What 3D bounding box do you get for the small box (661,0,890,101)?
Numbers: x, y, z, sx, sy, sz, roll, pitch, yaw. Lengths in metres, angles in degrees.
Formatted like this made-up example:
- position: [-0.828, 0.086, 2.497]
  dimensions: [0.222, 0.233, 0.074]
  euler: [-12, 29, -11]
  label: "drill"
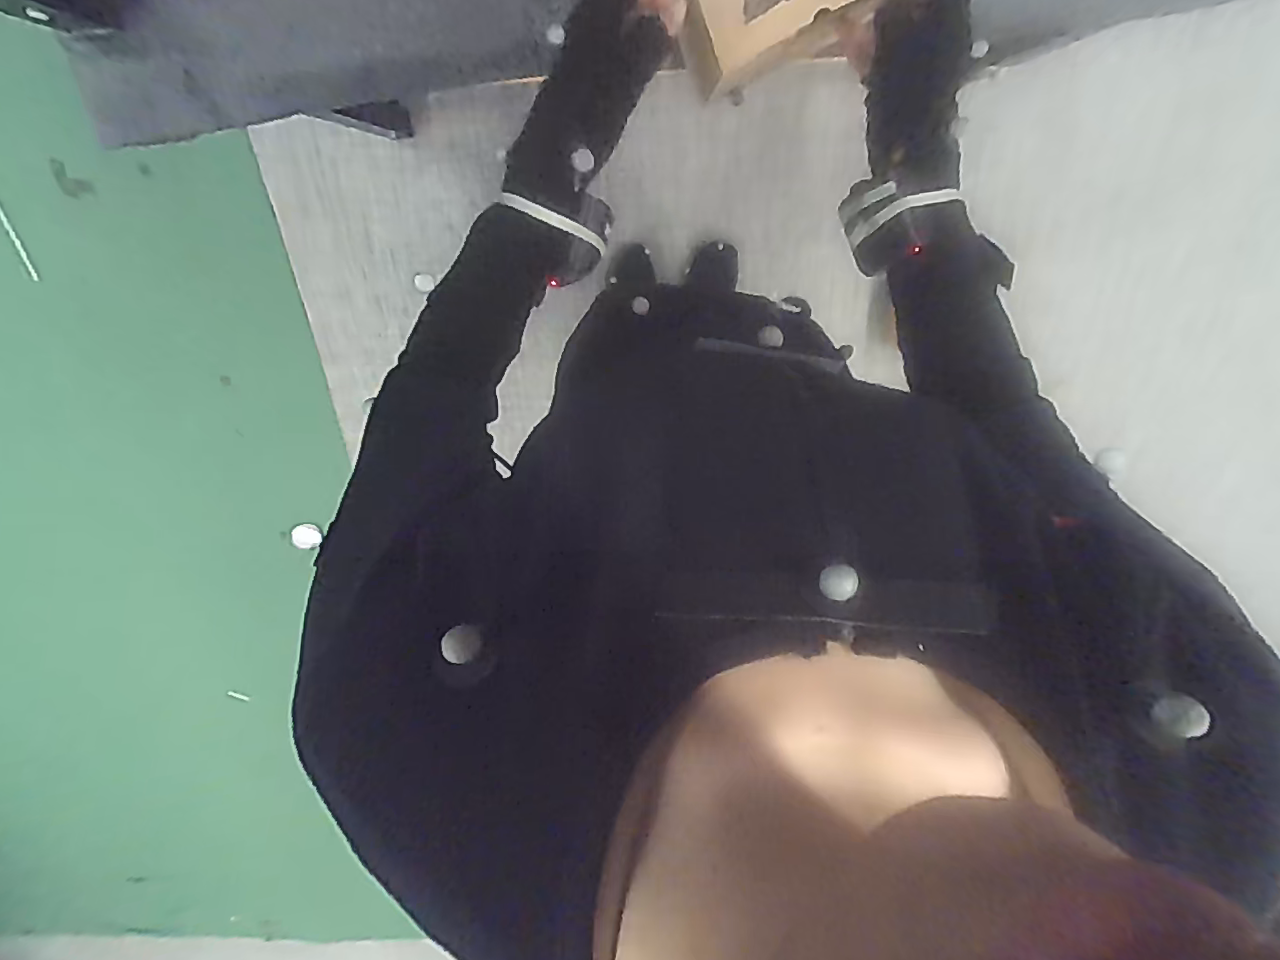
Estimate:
- position: [0.101, -0.446, 0.445]
  dimensions: [0.168, 0.176, 0.179]
  euler: [-21, 114, 11]
  label: "small box"
